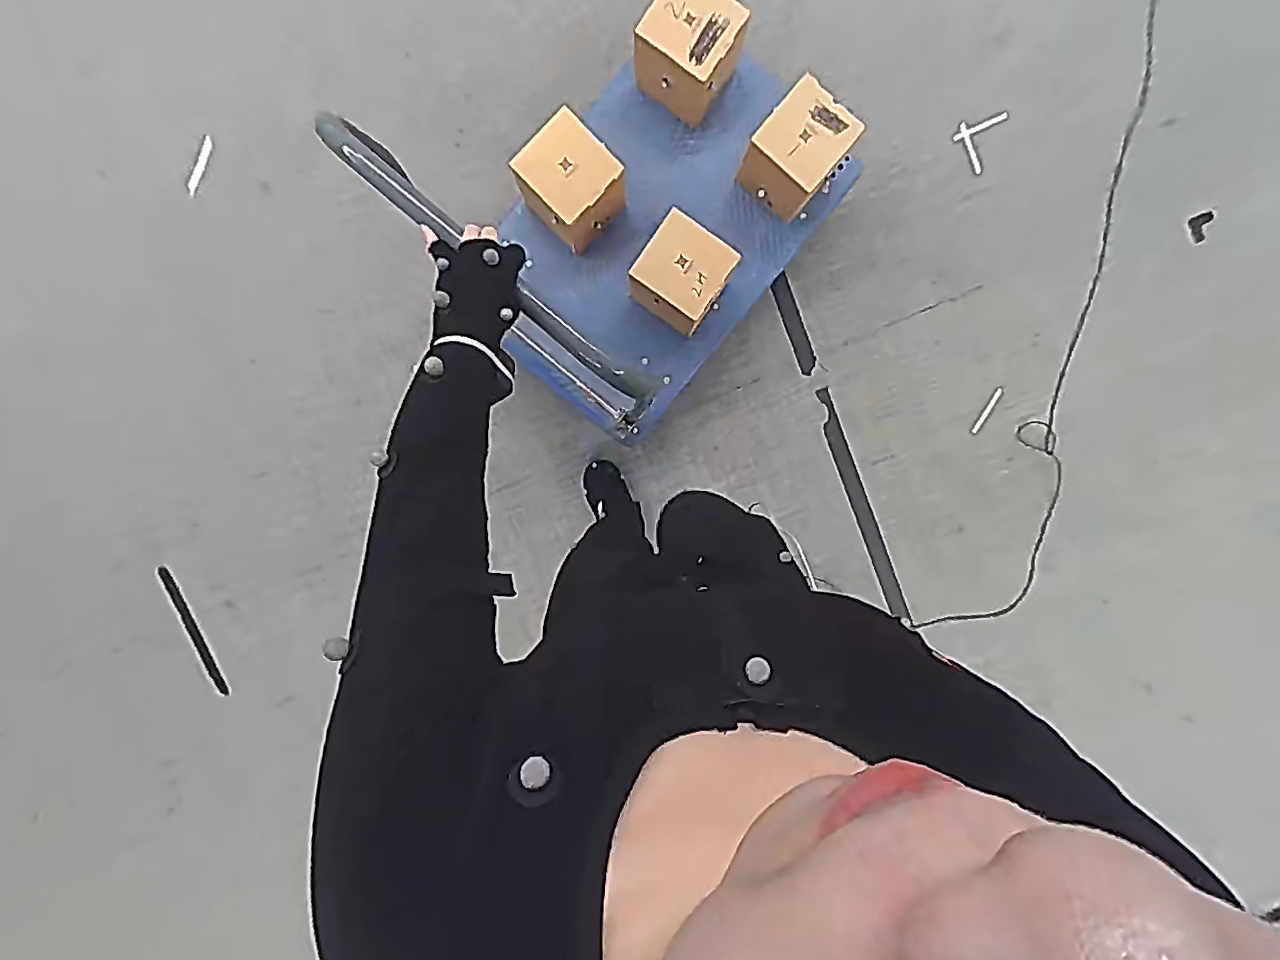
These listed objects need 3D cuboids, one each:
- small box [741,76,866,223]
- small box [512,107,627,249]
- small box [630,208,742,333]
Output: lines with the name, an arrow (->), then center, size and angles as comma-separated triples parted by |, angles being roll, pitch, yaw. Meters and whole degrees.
small box -> 0.343, -0.705, 1.175 | 0.168, 0.176, 0.179 | 41, 93, -3
small box -> -0.146, -0.640, 1.173 | 0.179, 0.176, 0.168 | 45, 92, -5
small box -> 0.093, -0.446, 1.188 | 0.179, 0.176, 0.168 | 36, 93, -2
